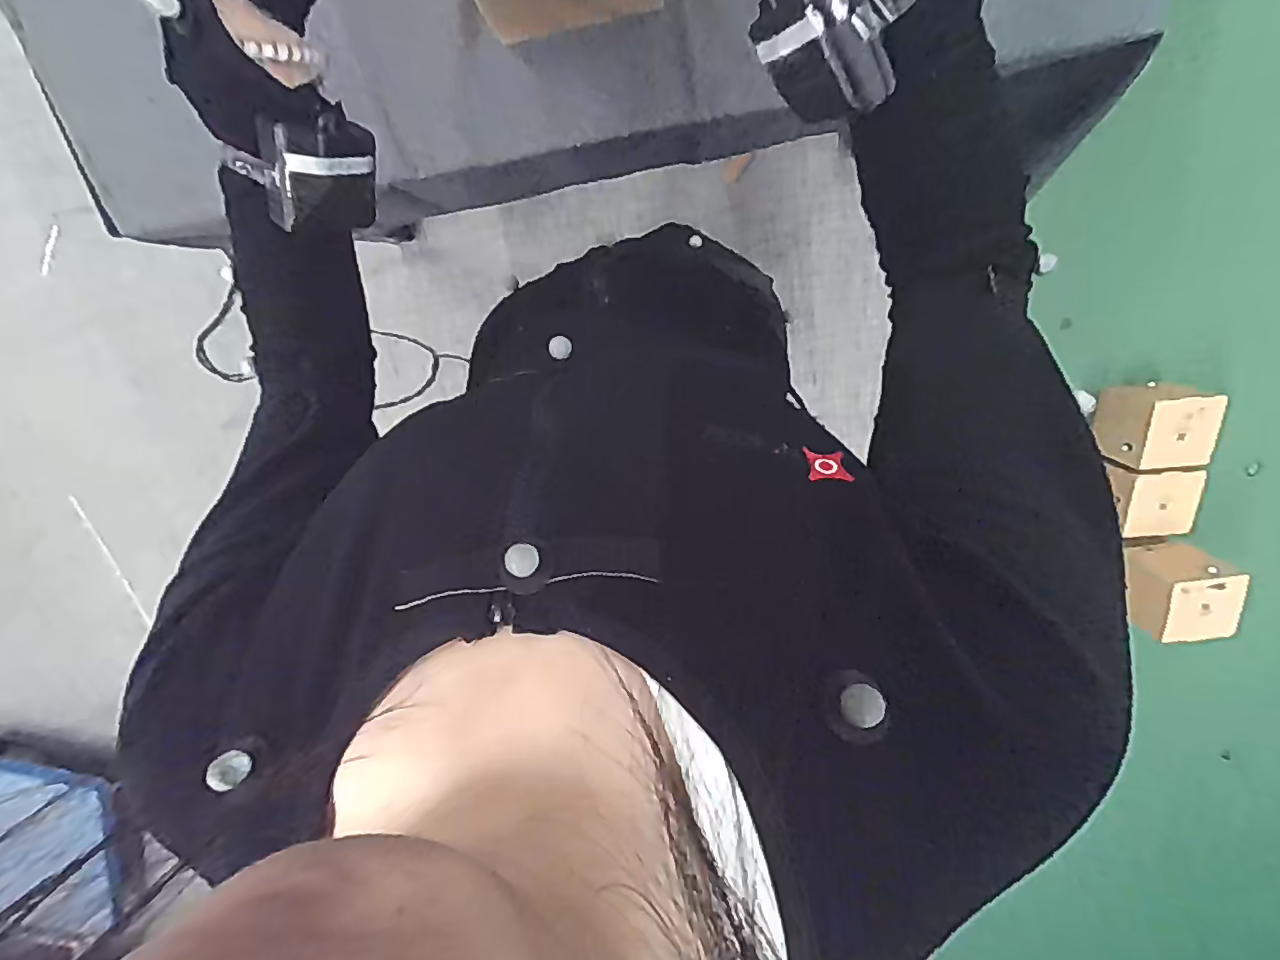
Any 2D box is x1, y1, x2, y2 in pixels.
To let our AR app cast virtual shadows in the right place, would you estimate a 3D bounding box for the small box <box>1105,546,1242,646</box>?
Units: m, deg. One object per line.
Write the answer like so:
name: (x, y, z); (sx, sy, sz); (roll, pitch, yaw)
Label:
small box: (1.326, 0.288, 1.361); (0.168, 0.176, 0.179); (-8, 111, 4)
